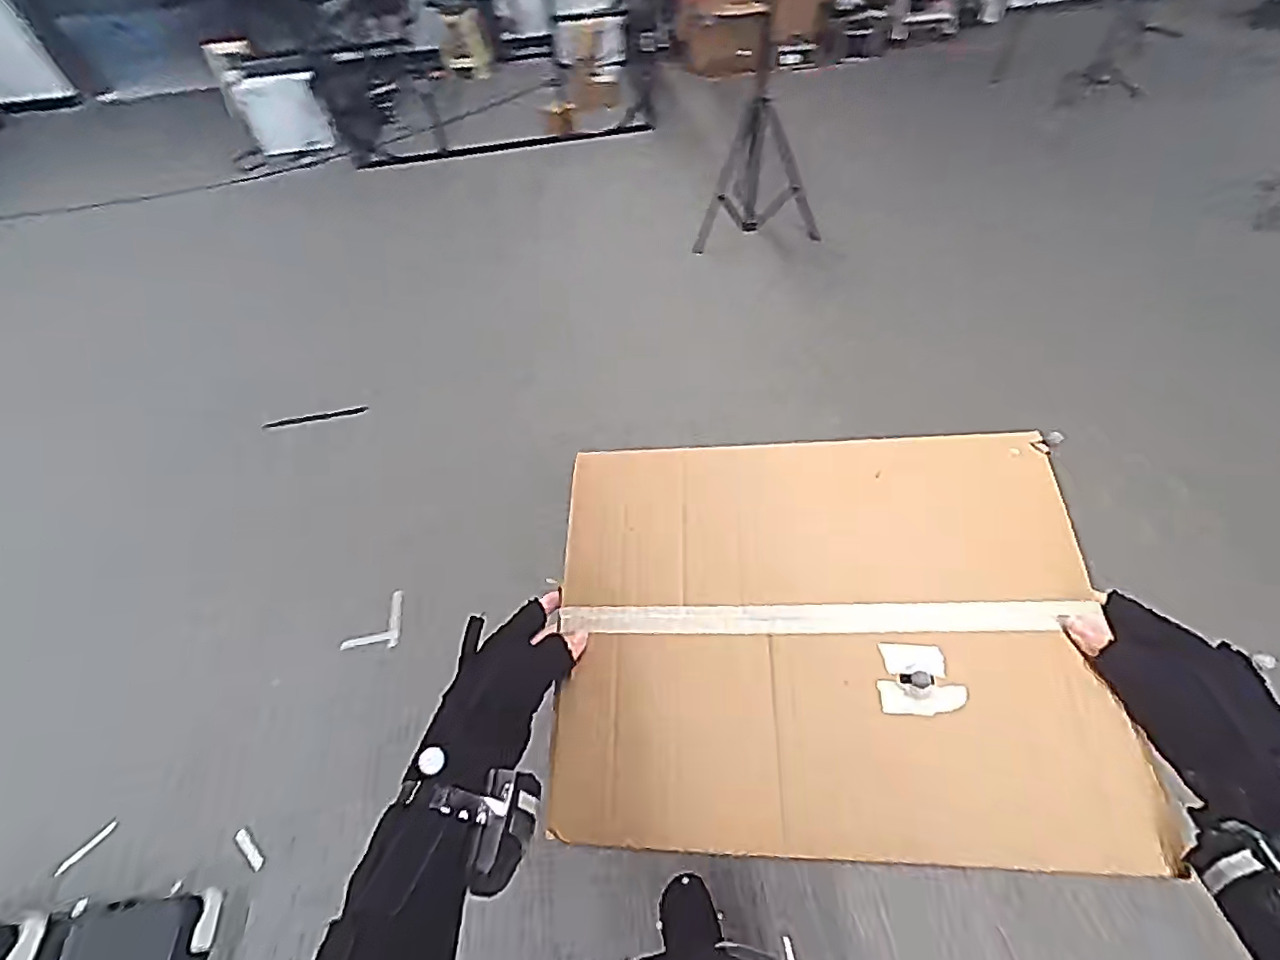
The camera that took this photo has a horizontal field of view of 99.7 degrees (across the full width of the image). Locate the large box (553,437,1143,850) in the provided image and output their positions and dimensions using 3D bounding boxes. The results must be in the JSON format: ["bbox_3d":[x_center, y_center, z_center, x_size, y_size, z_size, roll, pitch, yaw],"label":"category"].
[{"bbox_3d":[0.148,0.177,0.568,0.408,0.320,0.320,-3,65,7],"label":"large box"}]

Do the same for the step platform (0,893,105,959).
[{"bbox_3d":[-1.287,1.150,0.940,0.286,0.204,0.684,-10,50,-3],"label":"step platform"}]
